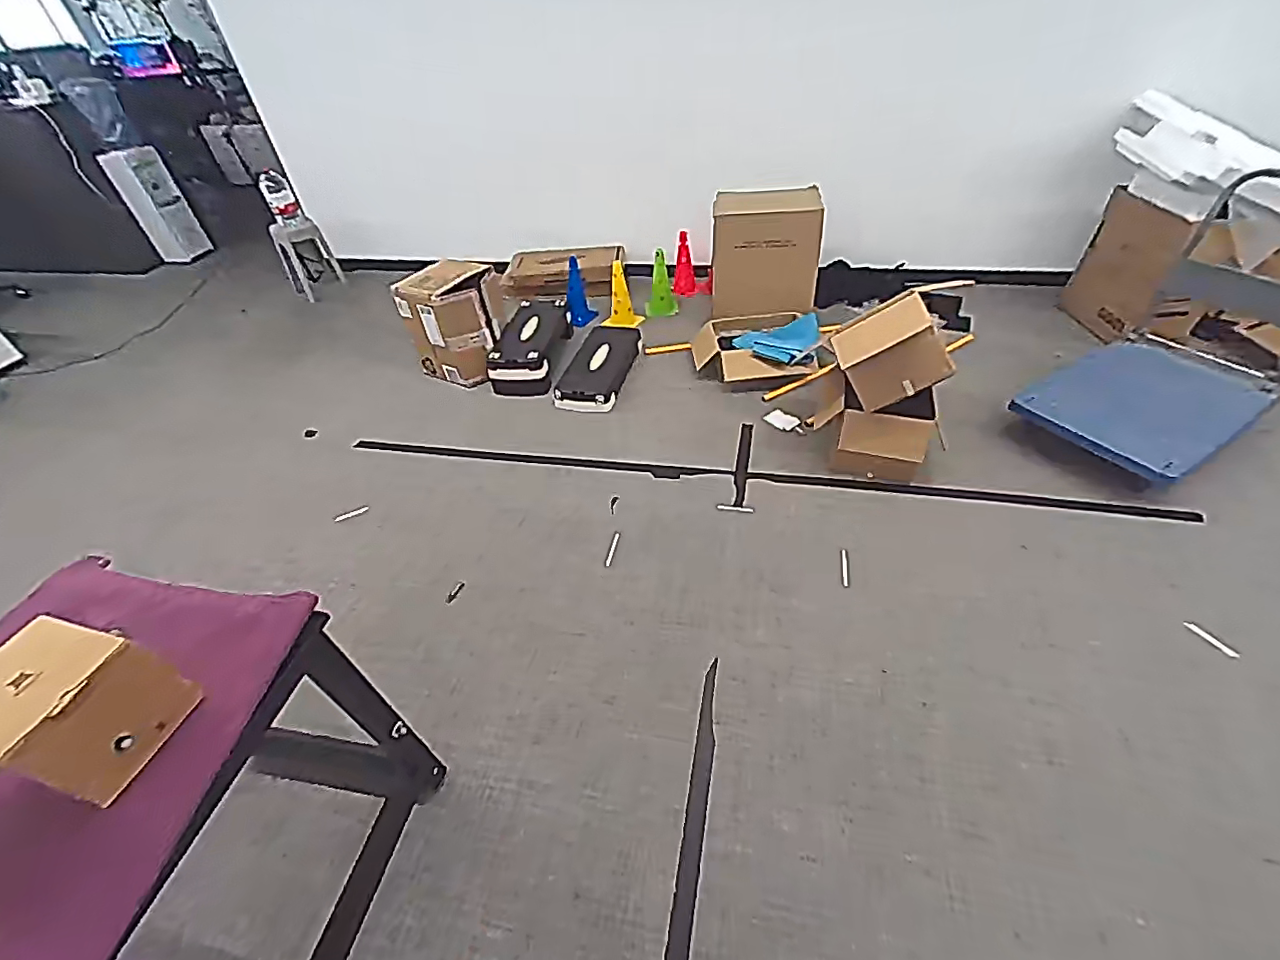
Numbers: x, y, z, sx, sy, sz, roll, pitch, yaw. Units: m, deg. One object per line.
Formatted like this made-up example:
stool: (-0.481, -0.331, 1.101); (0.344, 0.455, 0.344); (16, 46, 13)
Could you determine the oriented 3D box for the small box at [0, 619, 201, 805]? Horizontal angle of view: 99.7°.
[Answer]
small box: (-0.783, 0.322, 0.750); (0.179, 0.176, 0.168); (7, 45, 15)
